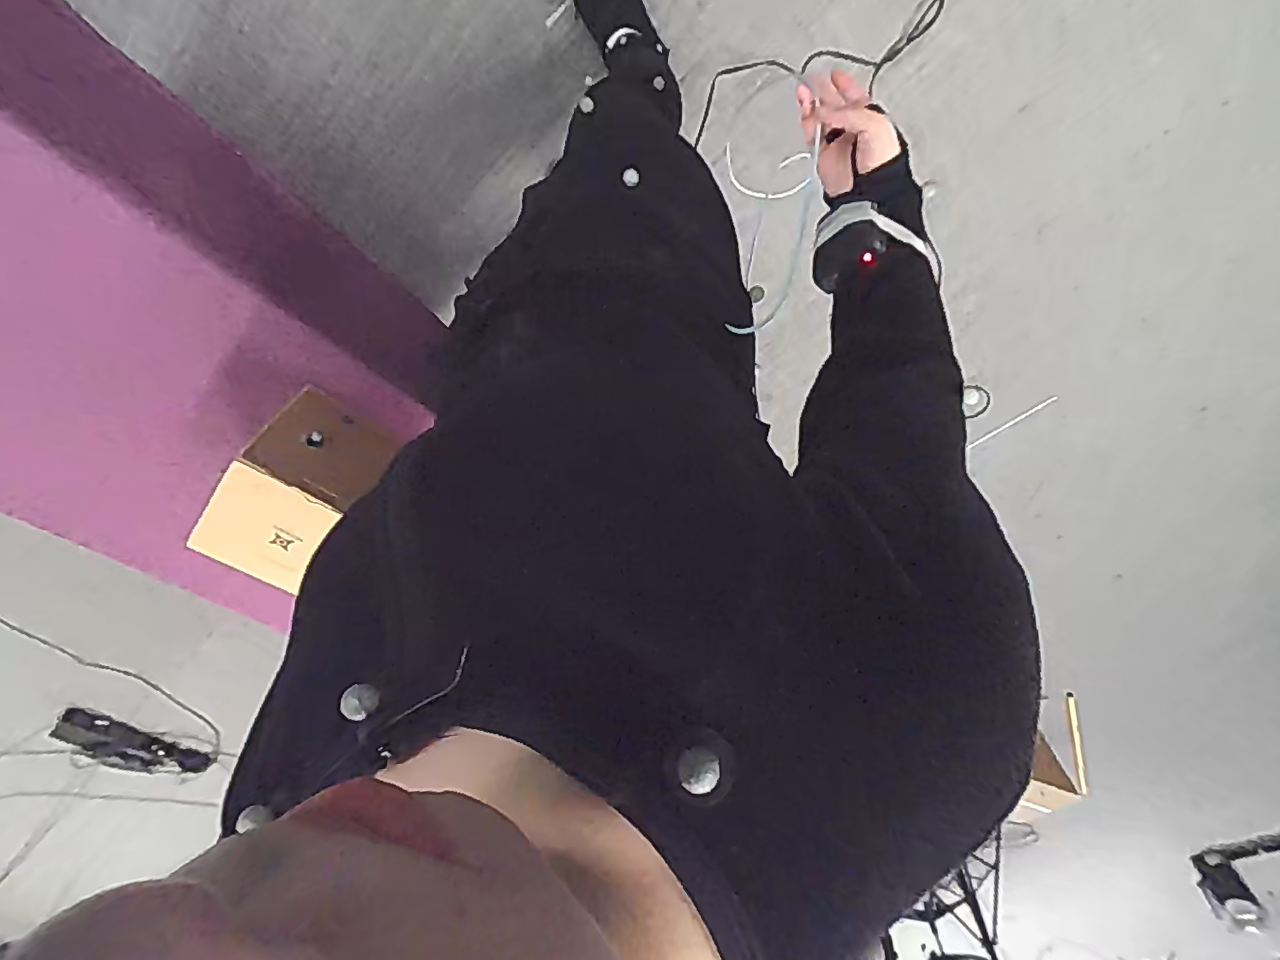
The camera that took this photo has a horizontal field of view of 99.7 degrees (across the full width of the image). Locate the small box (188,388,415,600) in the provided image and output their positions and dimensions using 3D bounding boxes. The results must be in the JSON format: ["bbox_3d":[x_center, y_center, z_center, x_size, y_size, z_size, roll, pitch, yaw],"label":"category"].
[{"bbox_3d":[-0.416,0.014,0.695,0.168,0.176,0.179,37,120,-25],"label":"small box"}]
